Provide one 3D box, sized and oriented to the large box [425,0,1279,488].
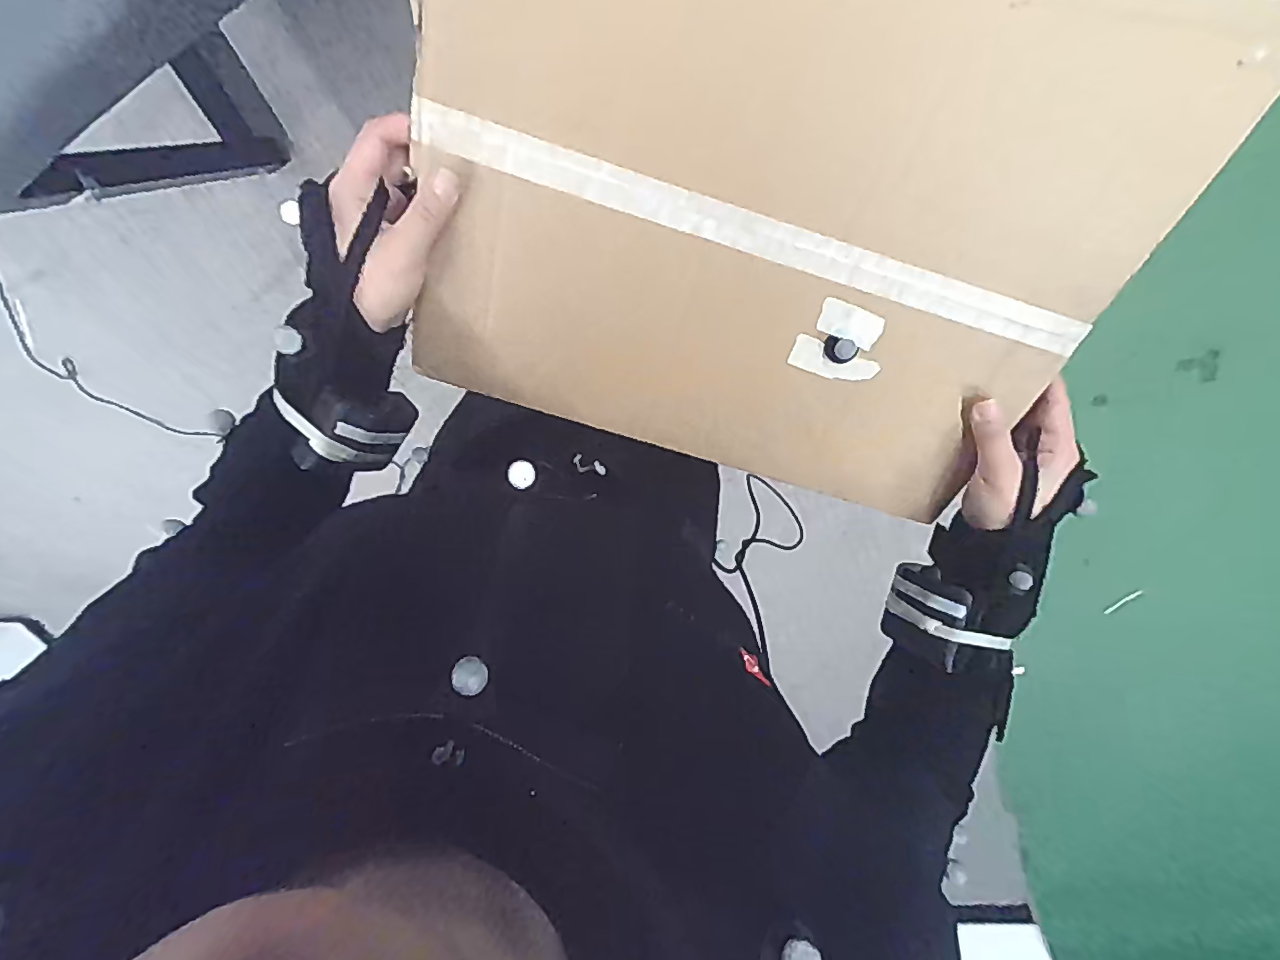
[{"bbox_3d":[0.086,-0.242,0.429,0.408,0.320,0.320,14,126,-6],"label":"large box"}]
